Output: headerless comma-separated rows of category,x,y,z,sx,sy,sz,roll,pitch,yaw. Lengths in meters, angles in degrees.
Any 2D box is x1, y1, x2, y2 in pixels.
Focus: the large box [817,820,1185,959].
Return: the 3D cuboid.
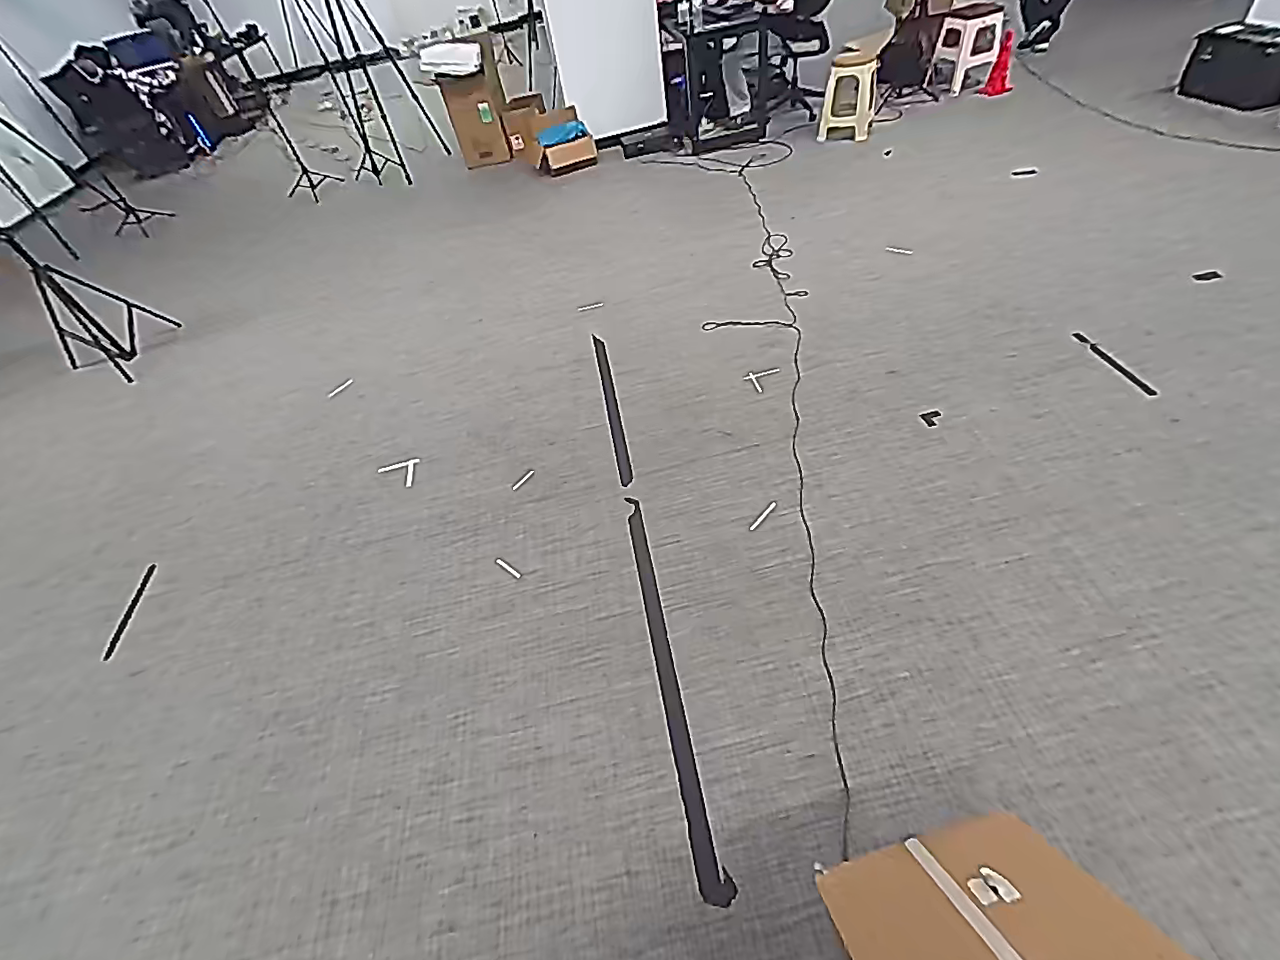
large box,0.459,0.688,0.612,0.320,0.408,0.320,-17,84,-2
